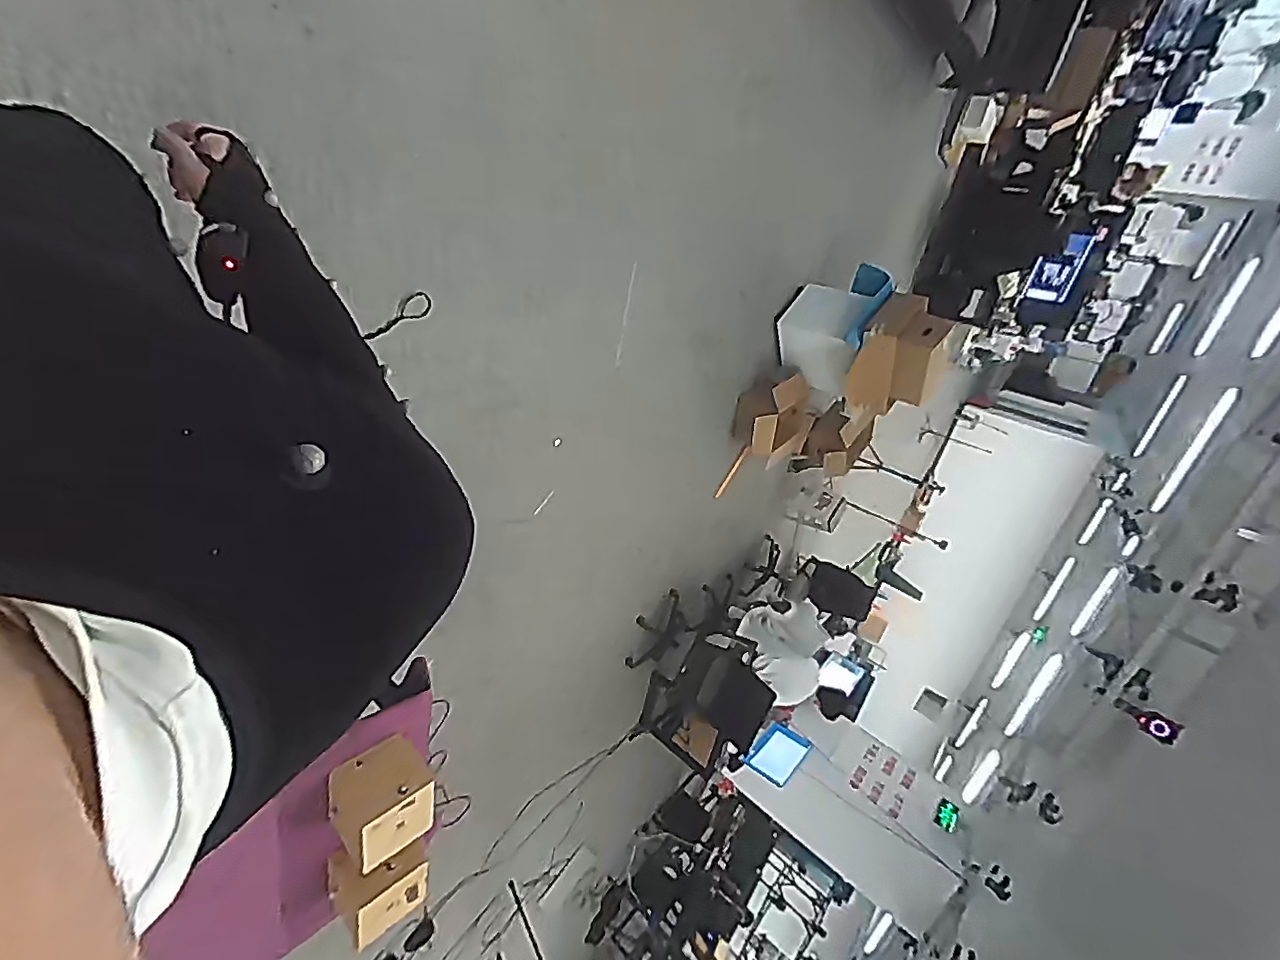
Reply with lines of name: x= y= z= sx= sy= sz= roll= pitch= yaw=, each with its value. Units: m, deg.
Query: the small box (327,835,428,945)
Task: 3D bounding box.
small box: x=-0.669 y=1.001 z=1.376 sx=0.179 sy=0.176 sz=0.168 roll=-15 pitch=125 yaw=-48

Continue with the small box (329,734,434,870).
small box: x=-0.605 y=0.740 z=1.262 sx=0.168 sy=0.176 sz=0.179 roll=-18 pitch=130 yaw=-48
